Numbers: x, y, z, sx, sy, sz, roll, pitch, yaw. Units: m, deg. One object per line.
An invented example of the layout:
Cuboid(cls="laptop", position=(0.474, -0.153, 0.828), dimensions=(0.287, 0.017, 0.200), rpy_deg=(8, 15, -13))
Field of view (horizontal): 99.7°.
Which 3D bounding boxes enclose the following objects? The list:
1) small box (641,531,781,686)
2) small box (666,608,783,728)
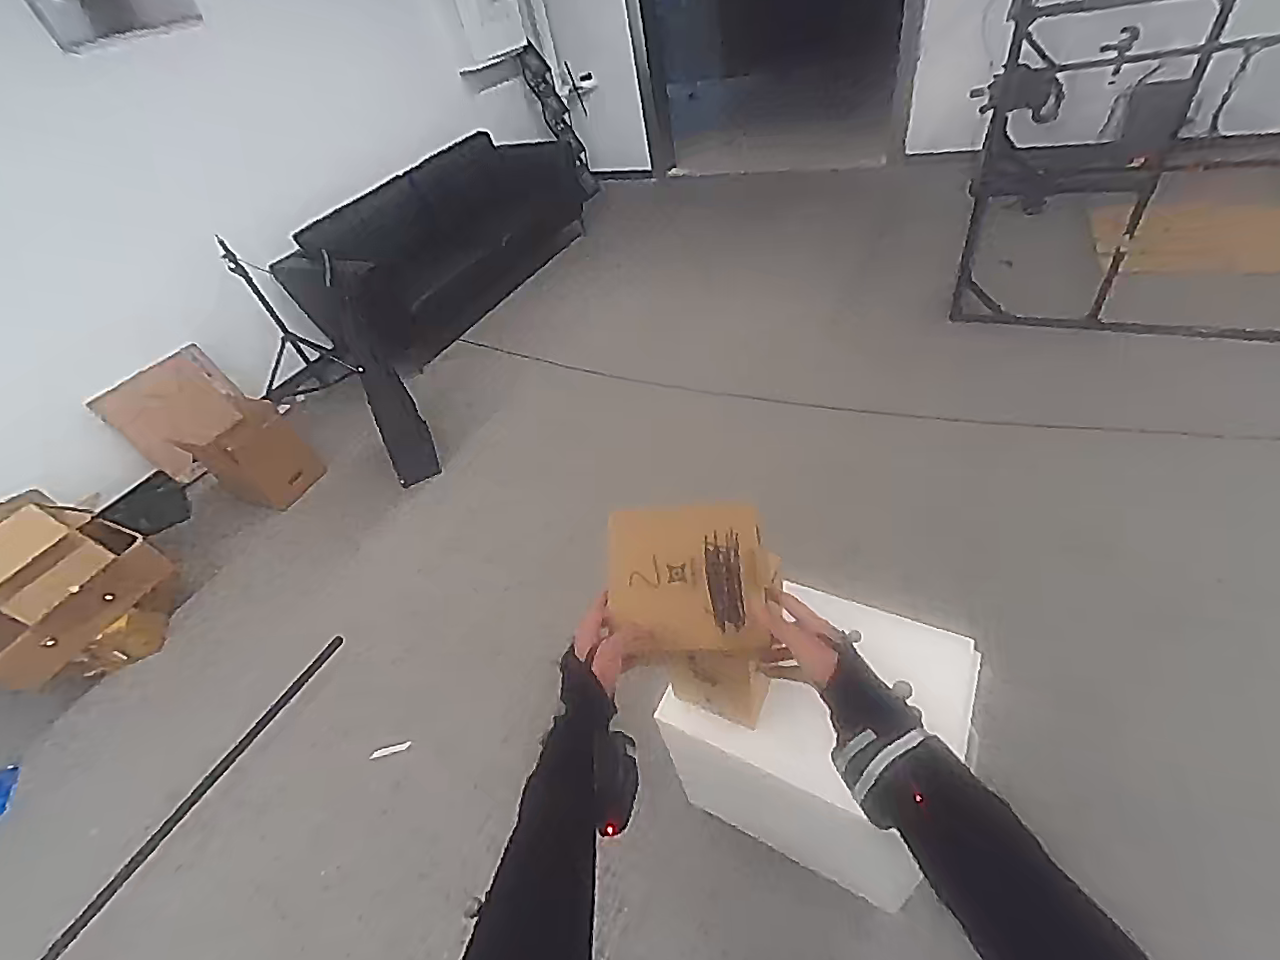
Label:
Cuboid(cls="small box", position=(0.127, 0.217, 0.905), dimensions=(0.179, 0.176, 0.168), rpy_deg=(14, 50, 28))
Cuboid(cls="small box", position=(0.163, 0.328, 1.021), dimensions=(0.168, 0.176, 0.179), rpy_deg=(13, 51, 27))
